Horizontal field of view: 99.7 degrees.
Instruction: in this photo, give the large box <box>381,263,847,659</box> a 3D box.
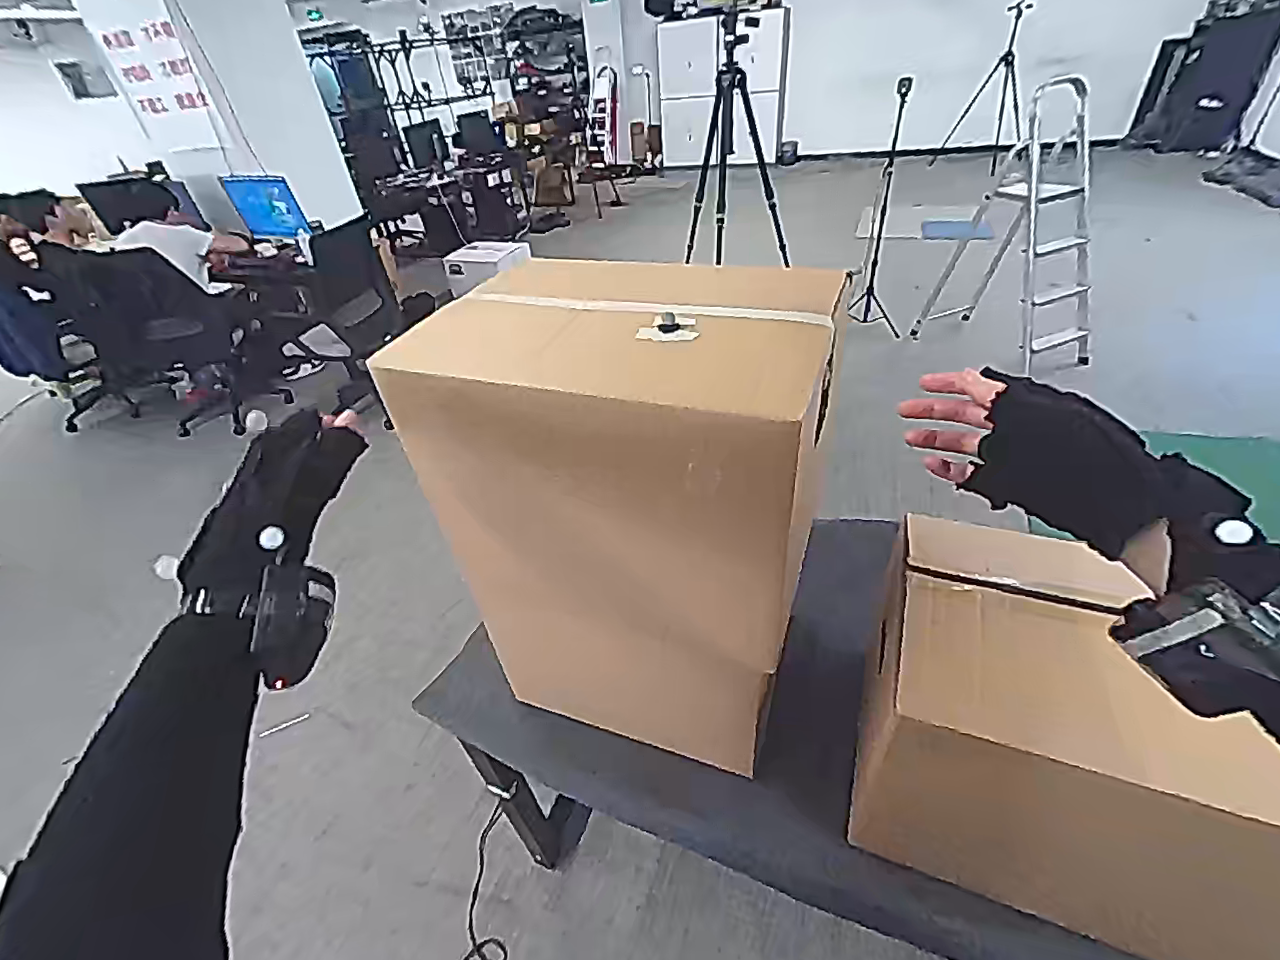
[{"bbox_3d":[-0.003,-0.047,0.647,0.408,0.320,0.320,12,42,19],"label":"large box"}]
